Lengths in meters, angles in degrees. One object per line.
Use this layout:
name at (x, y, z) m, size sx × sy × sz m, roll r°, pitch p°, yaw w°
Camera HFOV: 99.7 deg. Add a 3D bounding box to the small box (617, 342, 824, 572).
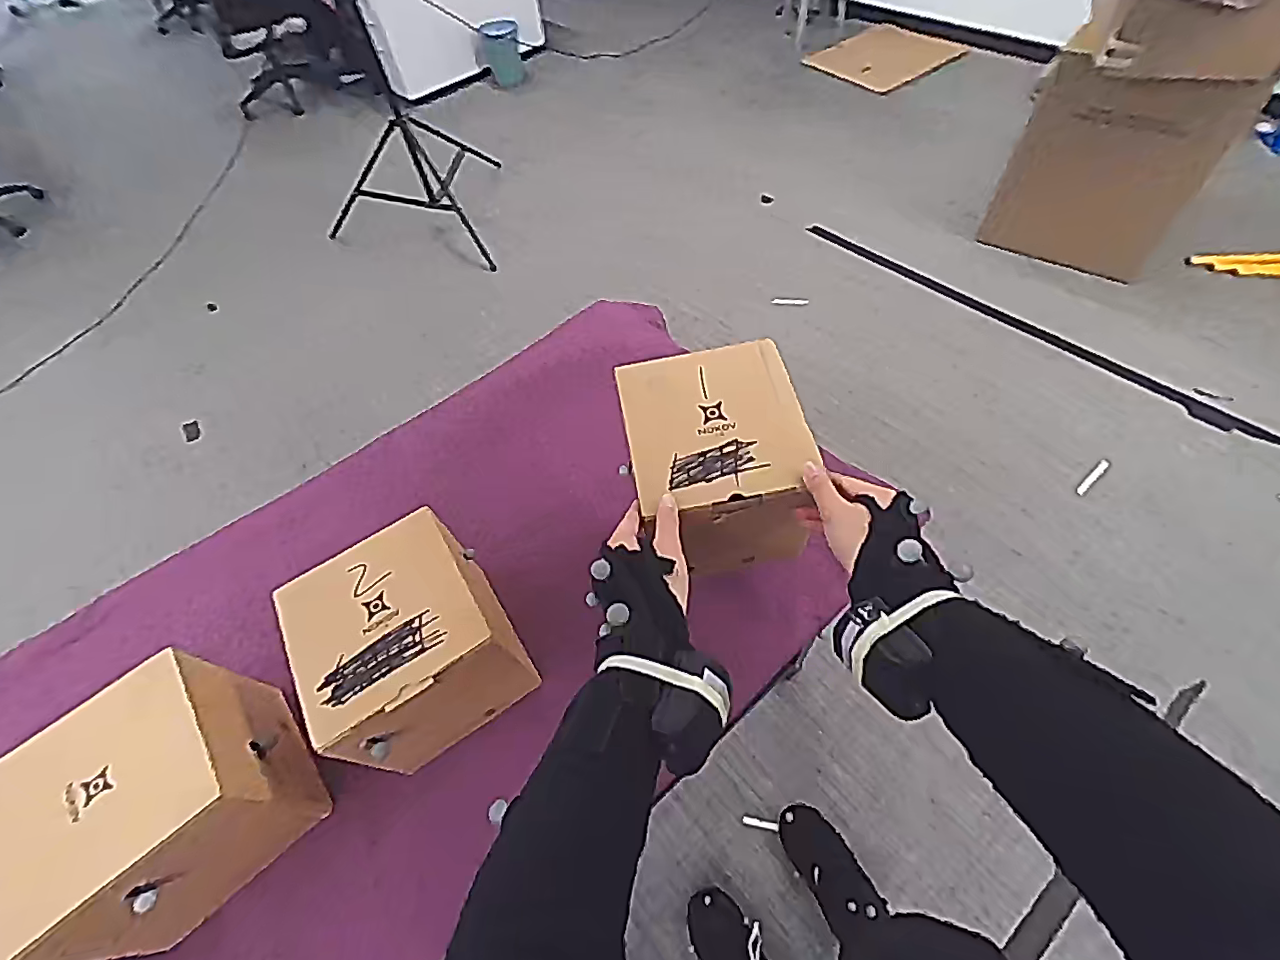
small box at (0.077, -0.013, 0.577) m, size 0.168 × 0.176 × 0.179 m, roll -11°, pitch 58°, yaw 0°
